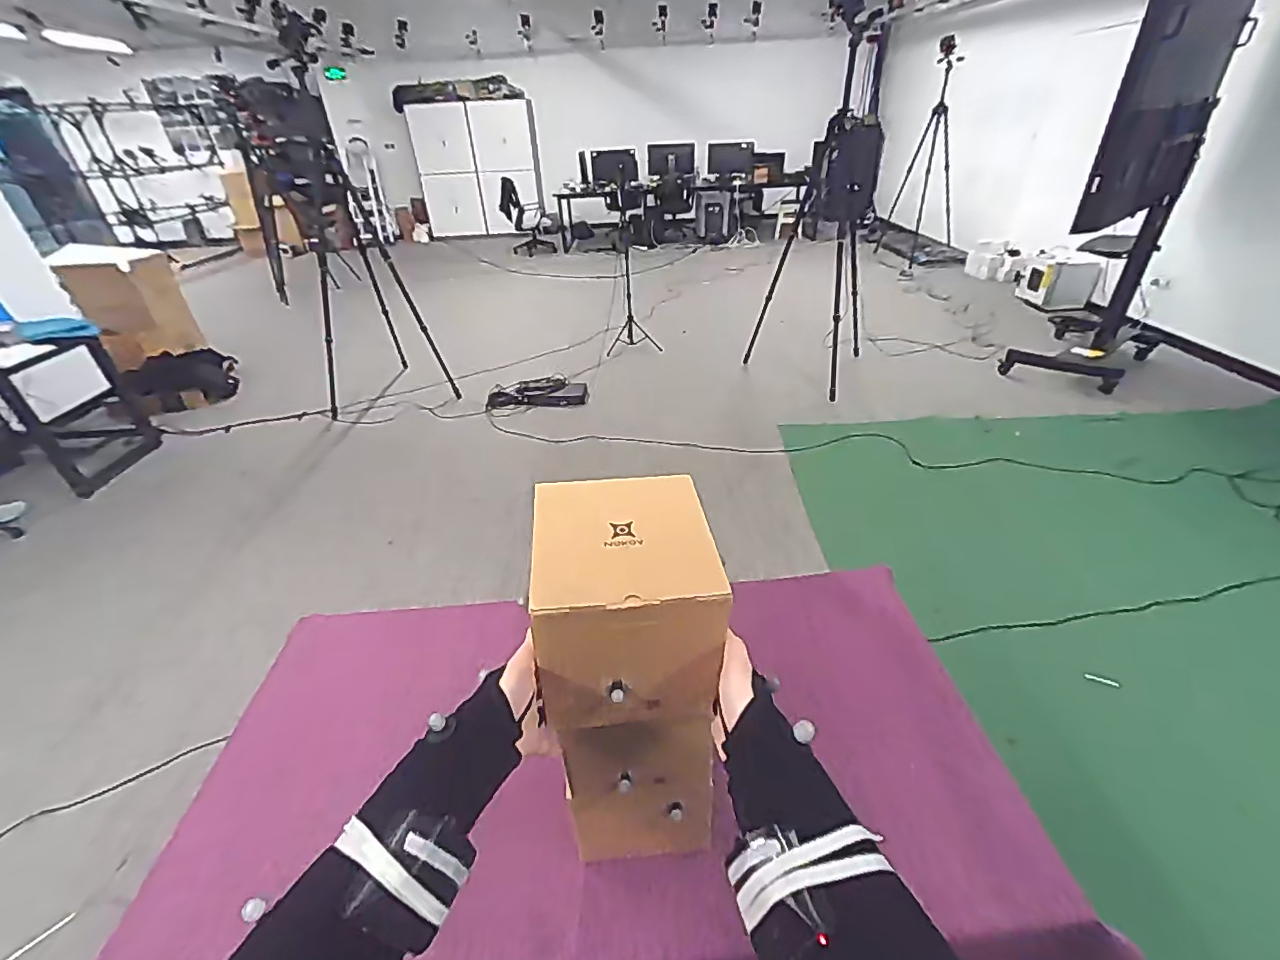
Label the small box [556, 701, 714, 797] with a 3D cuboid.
[{"bbox_3d":[-0.008,0.252,0.661,0.168,0.176,0.179,-6,35,-2],"label":"small box"}]

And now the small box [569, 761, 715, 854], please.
[{"bbox_3d":[0.002,0.388,0.750,0.179,0.176,0.168,-5,33,-1],"label":"small box"}]

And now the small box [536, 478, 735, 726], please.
[{"bbox_3d":[-0.014,0.117,0.547,0.168,0.176,0.179,-4,37,-7],"label":"small box"}]
